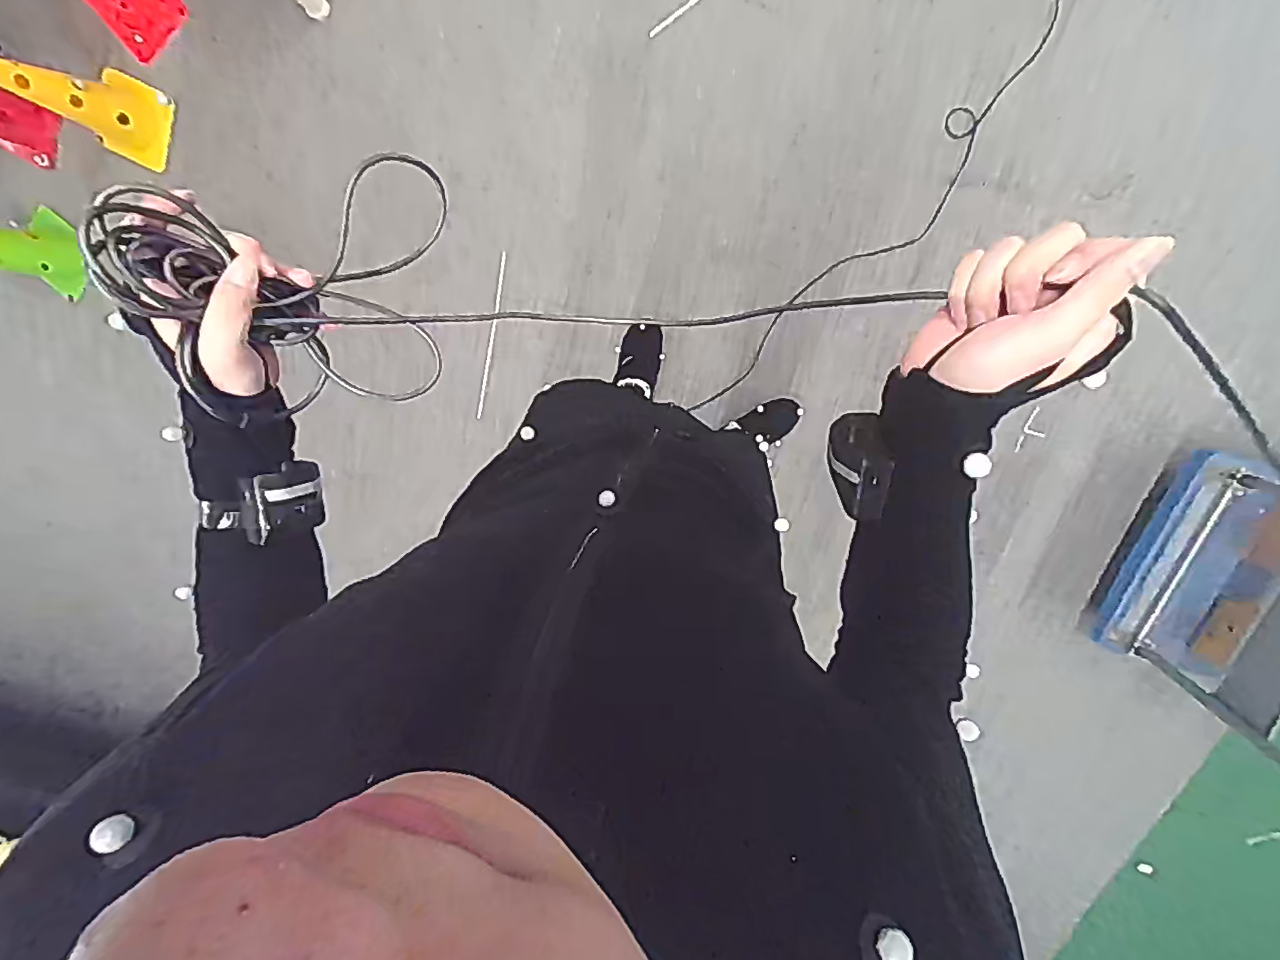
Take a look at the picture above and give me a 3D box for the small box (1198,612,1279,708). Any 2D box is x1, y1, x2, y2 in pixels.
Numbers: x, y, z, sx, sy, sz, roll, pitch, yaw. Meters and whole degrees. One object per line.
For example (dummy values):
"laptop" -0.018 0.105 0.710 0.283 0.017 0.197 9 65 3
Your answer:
"small box" 1.566 0.449 1.329 0.179 0.176 0.168 16 106 2
